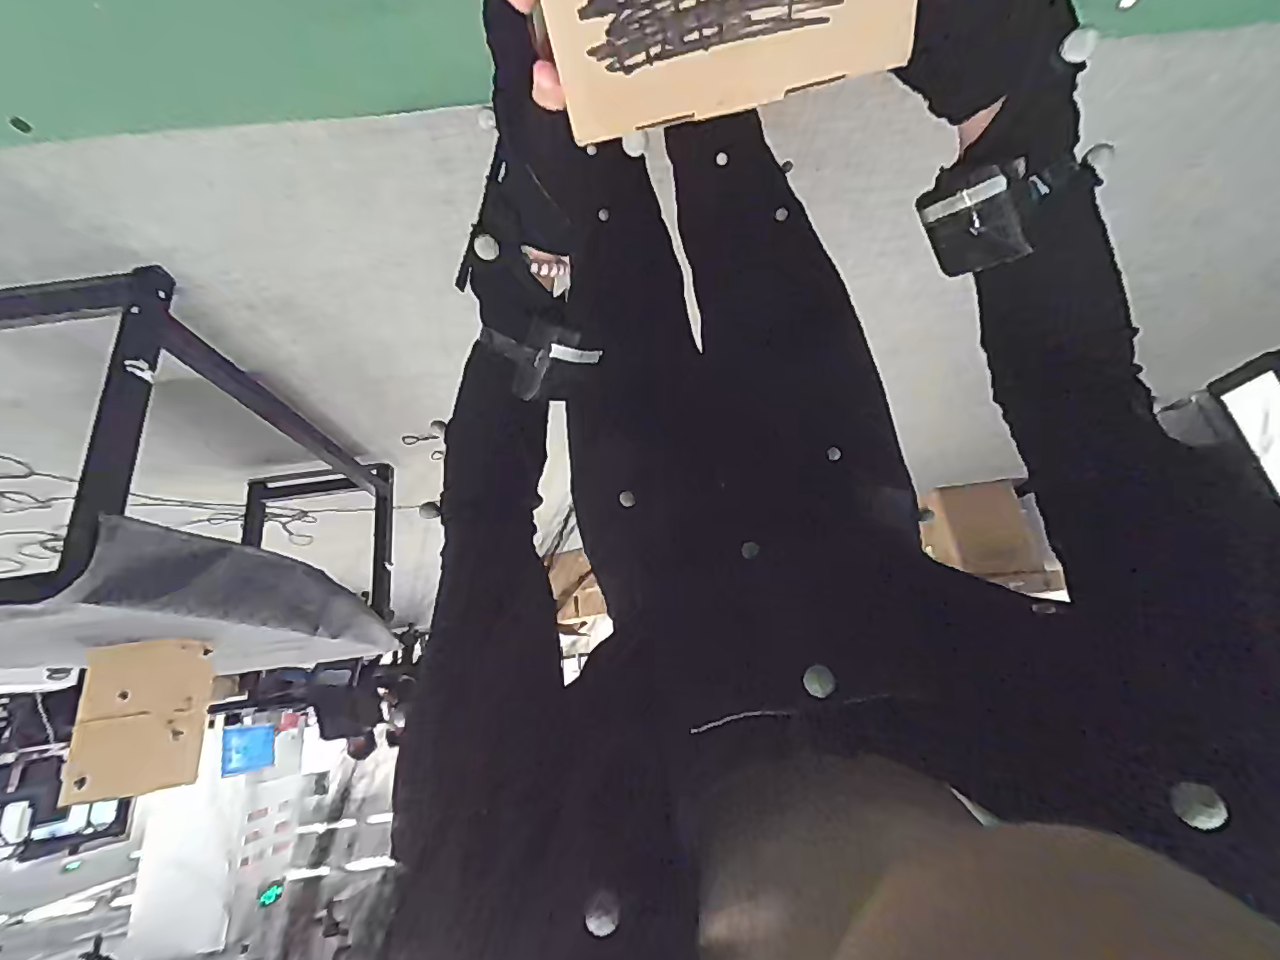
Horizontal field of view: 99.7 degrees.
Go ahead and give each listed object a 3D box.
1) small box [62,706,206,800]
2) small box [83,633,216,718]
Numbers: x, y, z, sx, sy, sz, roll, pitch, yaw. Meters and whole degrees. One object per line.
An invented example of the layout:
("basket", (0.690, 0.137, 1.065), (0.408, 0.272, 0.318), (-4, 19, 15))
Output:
("small box", (-1.169, 0.630, 1.268), (0.179, 0.176, 0.168), (-9, 160, 1))
("small box", (-1.176, 0.471, 1.314), (0.179, 0.176, 0.168), (-7, 159, 0))
